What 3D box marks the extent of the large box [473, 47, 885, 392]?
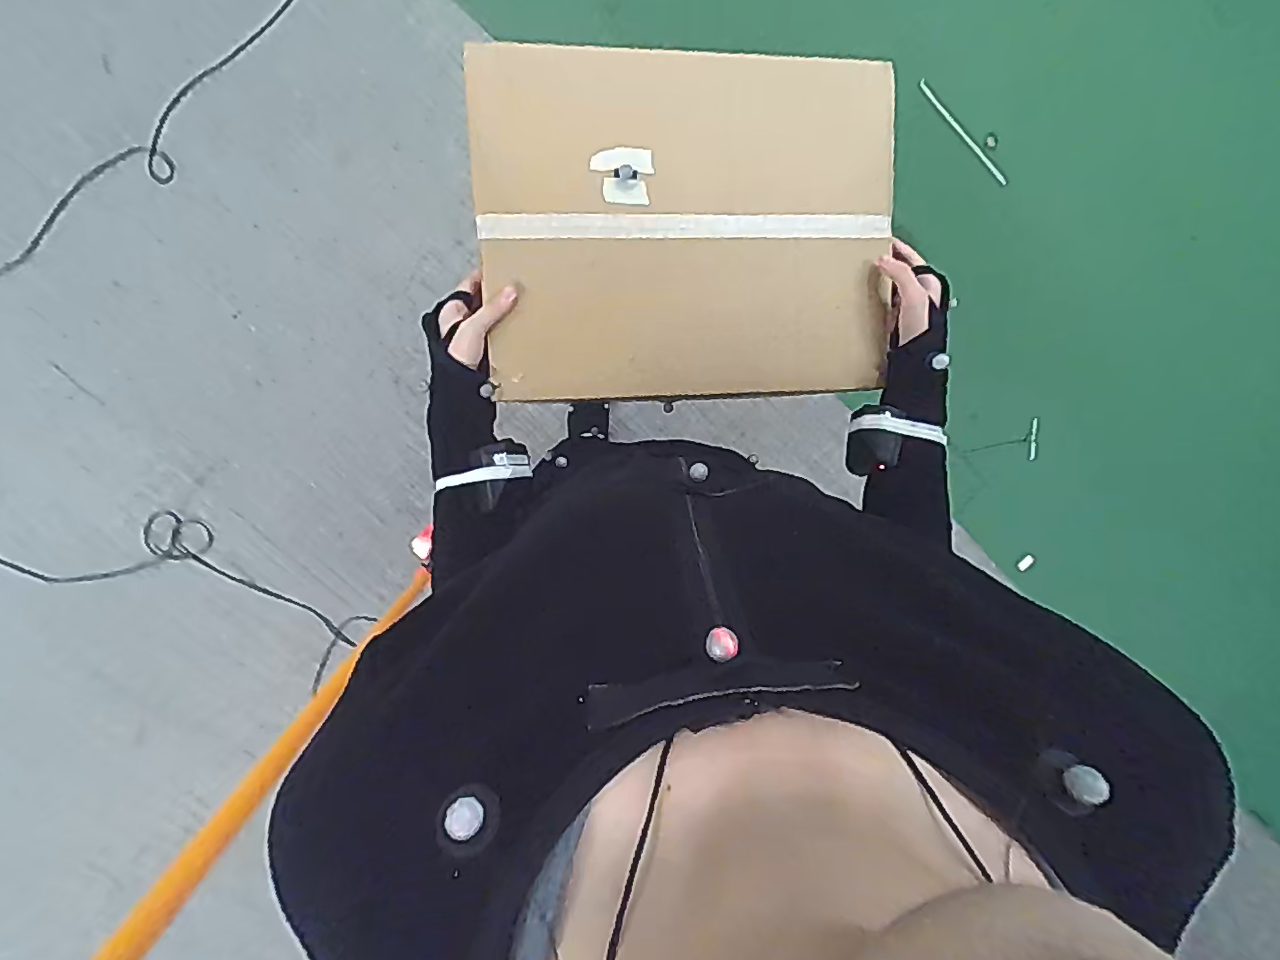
[{"bbox_3d":[0.033,-0.272,0.678,0.408,0.320,0.320,-2,98,-7],"label":"large box"}]
